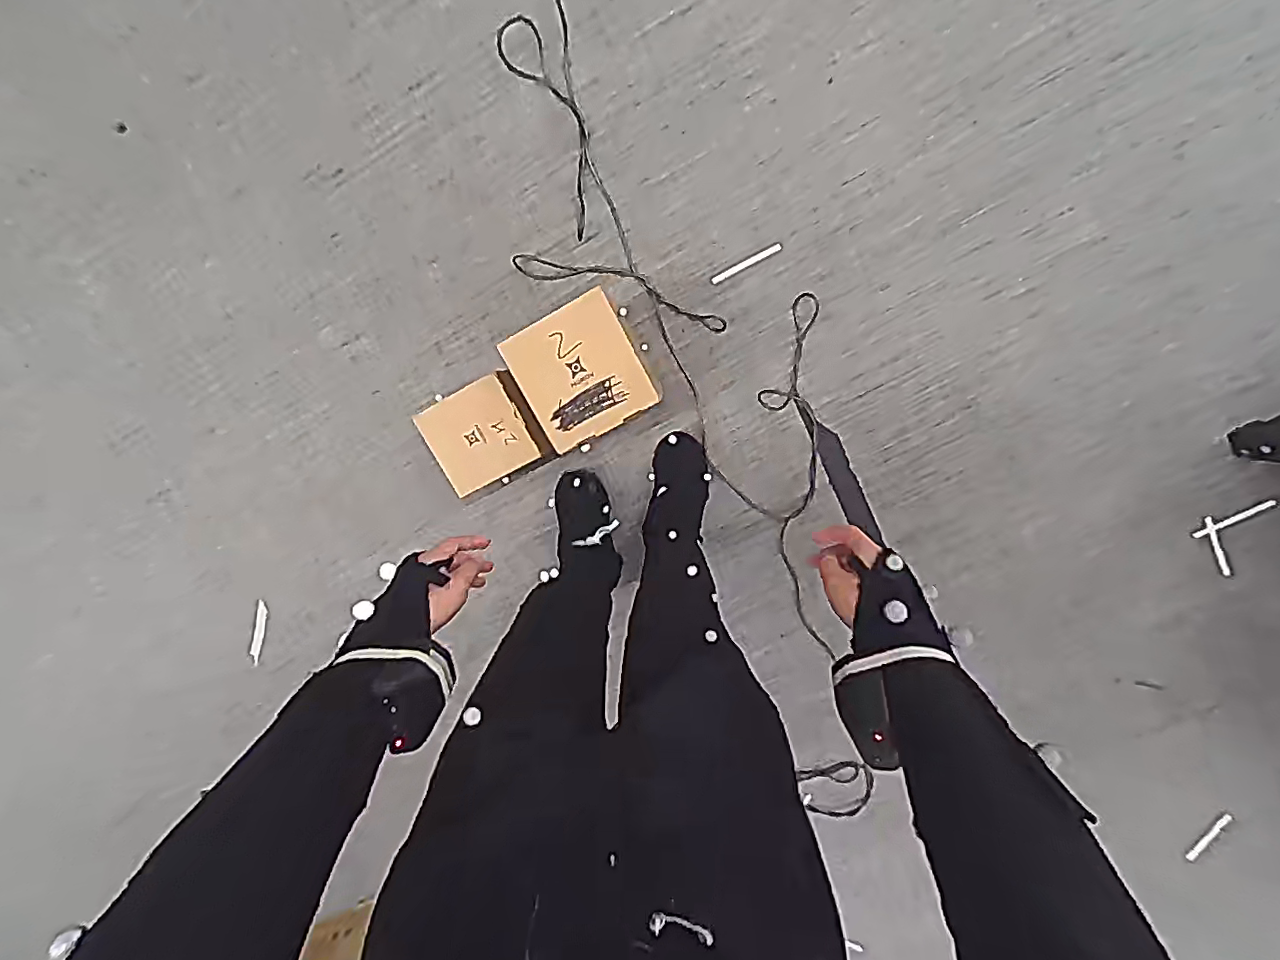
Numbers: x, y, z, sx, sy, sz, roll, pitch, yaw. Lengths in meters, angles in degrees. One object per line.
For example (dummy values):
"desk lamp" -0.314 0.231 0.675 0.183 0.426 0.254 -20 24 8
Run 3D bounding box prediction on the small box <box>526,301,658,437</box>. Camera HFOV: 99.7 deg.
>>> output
"small box" -0.078 -0.199 0.978 0.168 0.176 0.179 -28 101 9

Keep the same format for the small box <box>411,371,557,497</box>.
"small box" -0.280 -0.092 1.013 0.179 0.176 0.168 -26 101 10
